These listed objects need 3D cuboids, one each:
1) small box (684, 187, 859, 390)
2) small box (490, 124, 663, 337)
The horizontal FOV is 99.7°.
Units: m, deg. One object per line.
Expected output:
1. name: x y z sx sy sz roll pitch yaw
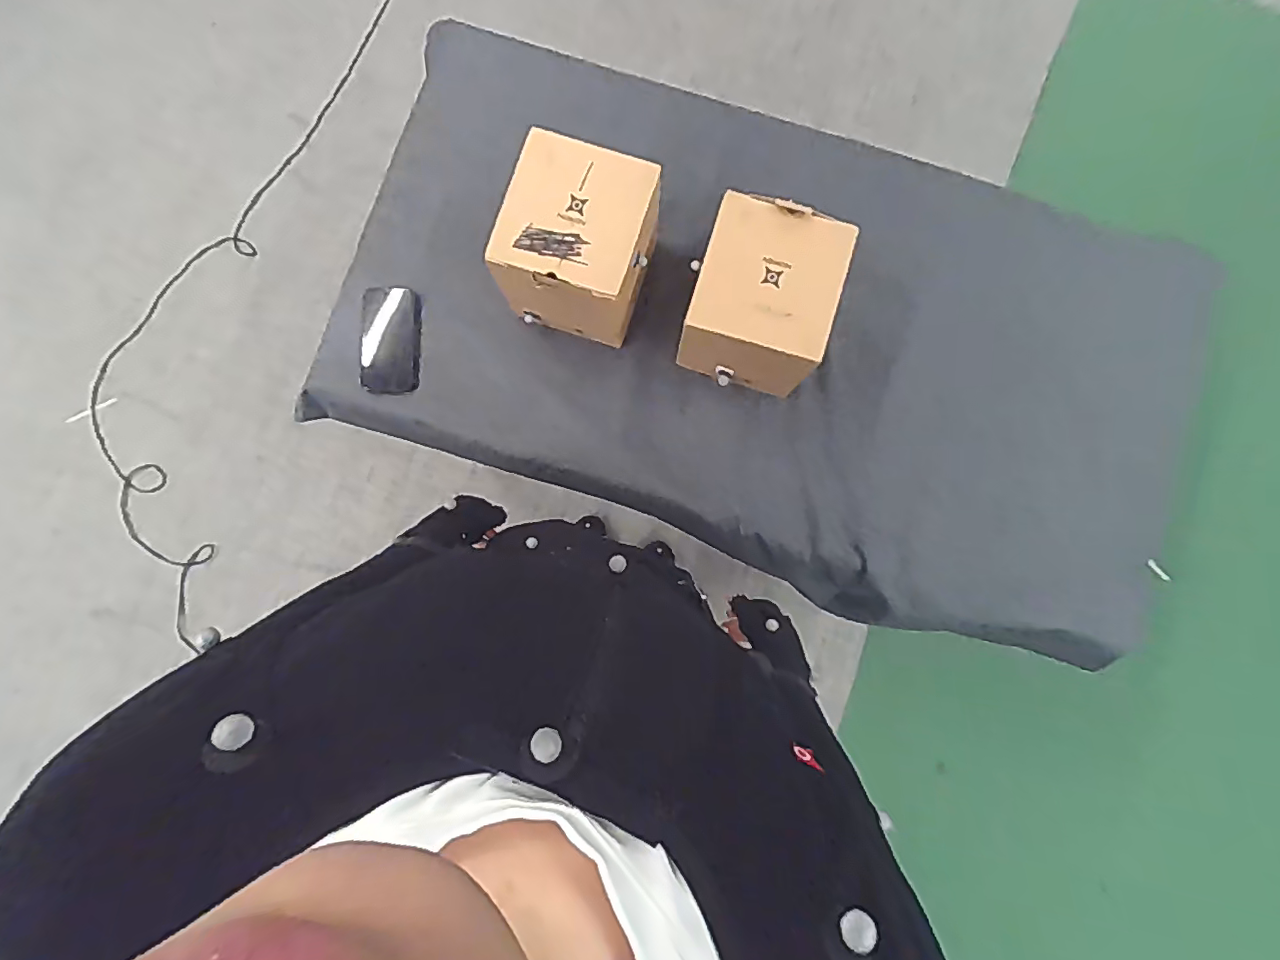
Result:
1. small box: 0.160 -0.238 0.715 0.168 0.176 0.179 16 86 2
2. small box: -0.074 -0.313 0.716 0.168 0.176 0.179 18 84 1
